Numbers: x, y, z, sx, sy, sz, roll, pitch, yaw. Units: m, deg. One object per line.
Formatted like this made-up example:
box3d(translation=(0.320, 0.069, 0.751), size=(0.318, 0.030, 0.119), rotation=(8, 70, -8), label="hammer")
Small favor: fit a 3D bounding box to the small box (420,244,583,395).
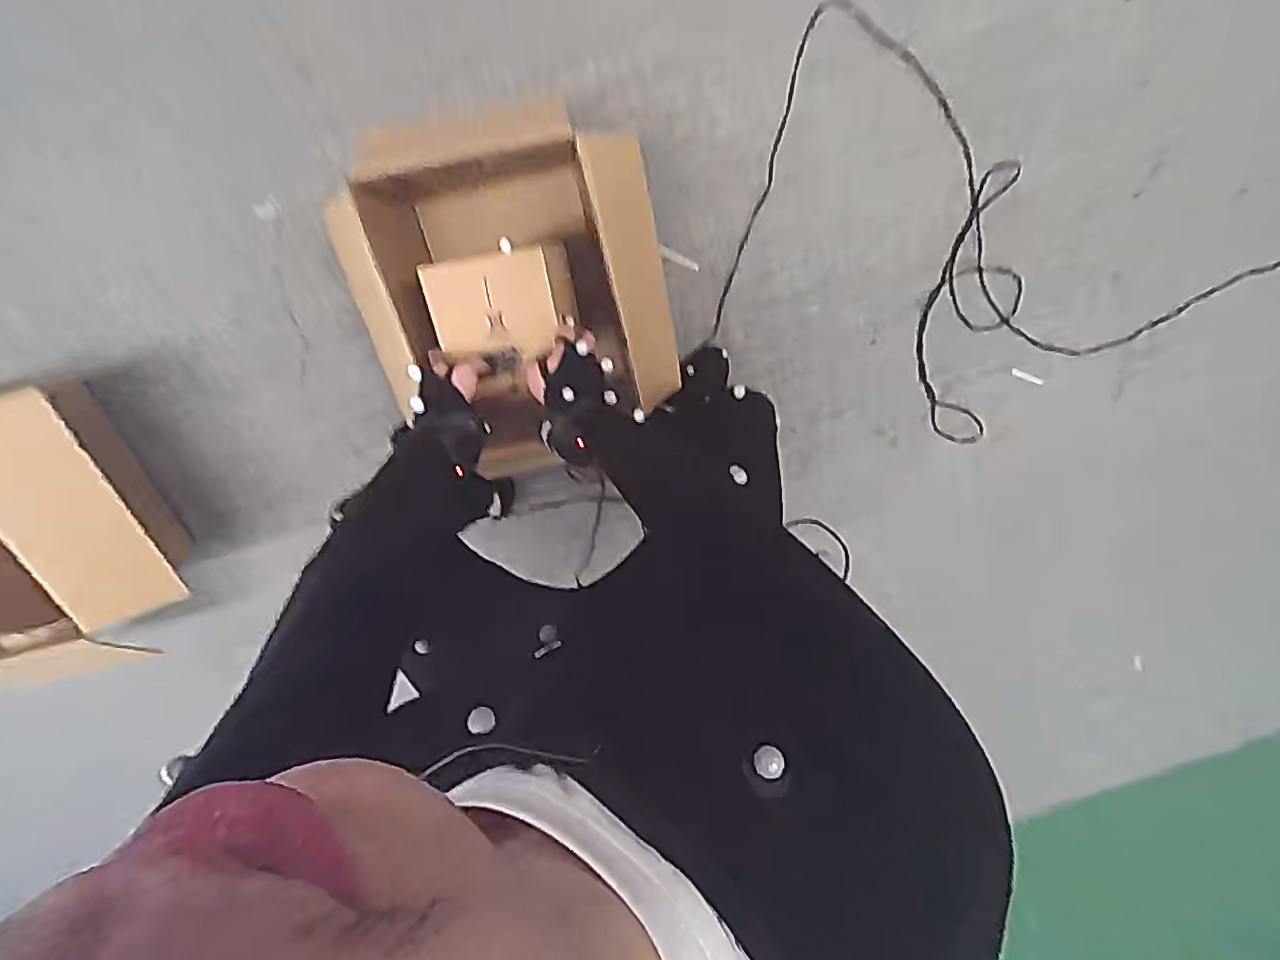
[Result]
box3d(translation=(-0.185, -0.238, 0.785), size=(0.168, 0.176, 0.179), rotation=(-7, 113, 5), label="small box")
